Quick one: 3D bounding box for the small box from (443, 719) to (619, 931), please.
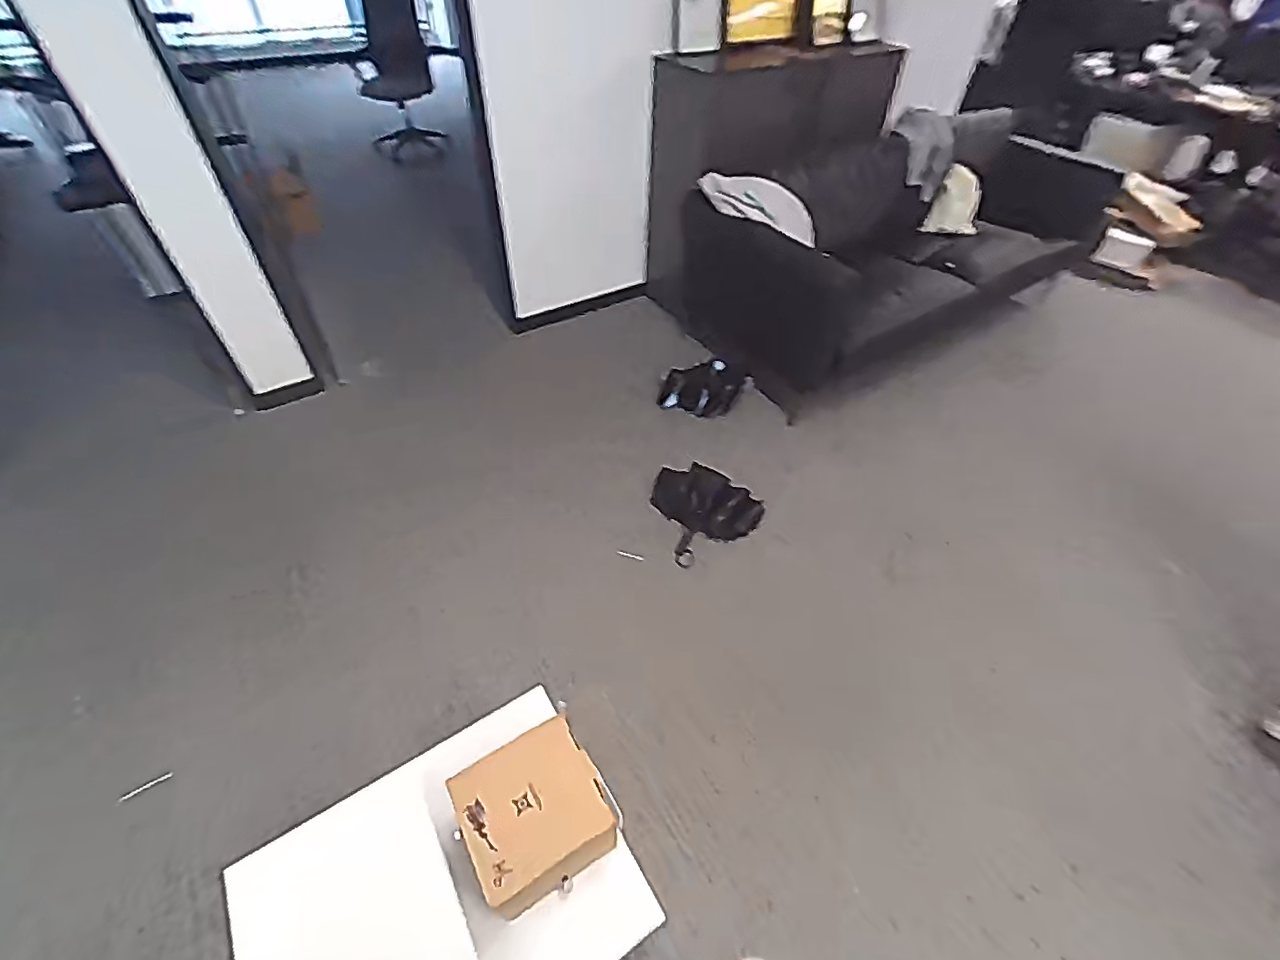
[{"bbox_3d":[-0.148,0.471,0.743,0.179,0.176,0.168,-22,52,-25],"label":"small box"}]
